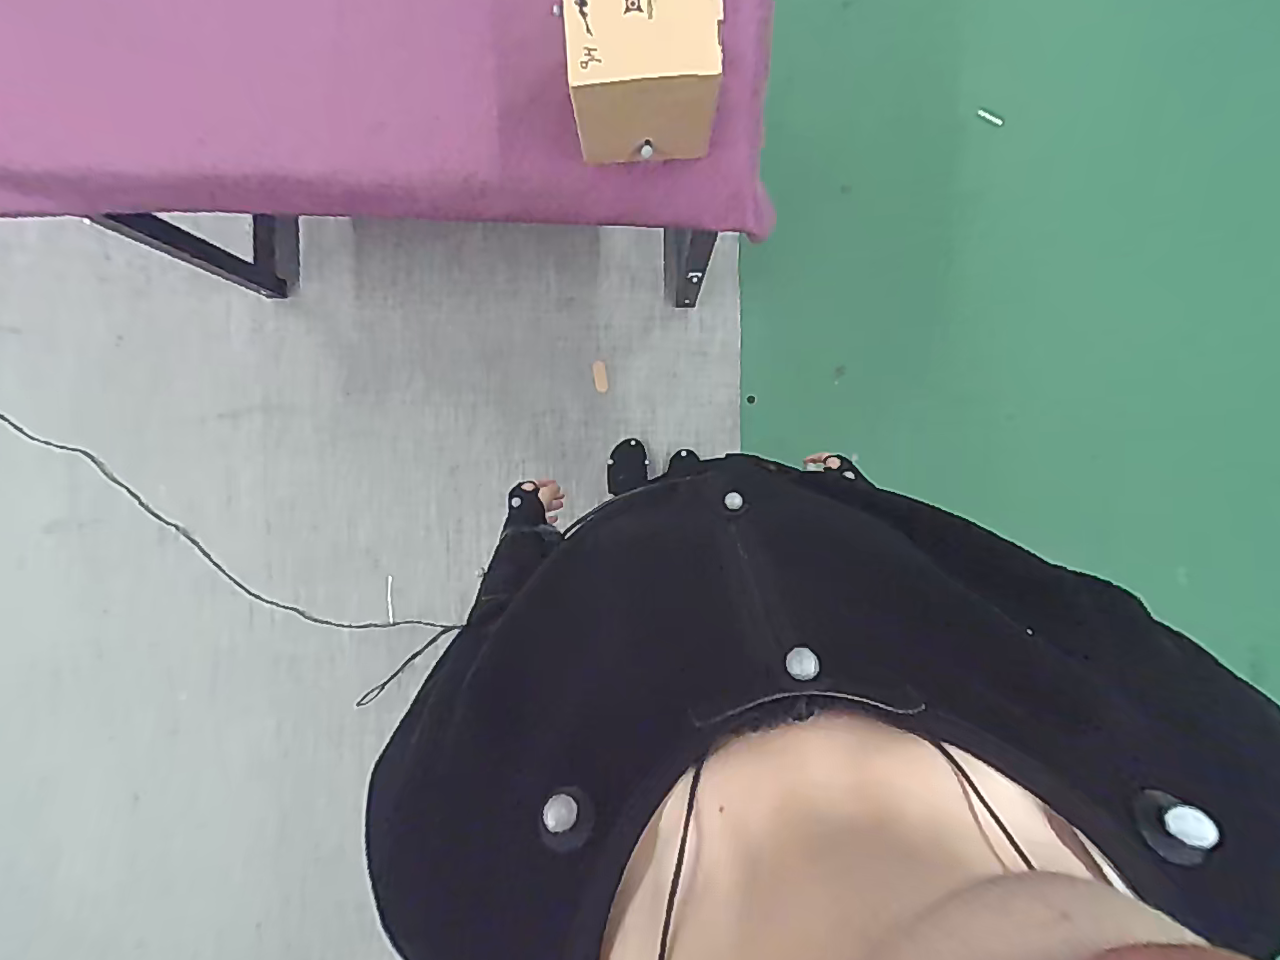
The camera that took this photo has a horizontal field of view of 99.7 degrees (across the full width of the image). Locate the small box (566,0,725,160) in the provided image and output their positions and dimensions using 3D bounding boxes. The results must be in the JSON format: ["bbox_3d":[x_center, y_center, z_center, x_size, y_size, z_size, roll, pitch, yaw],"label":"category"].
[{"bbox_3d":[0.004,-0.531,0.679,0.179,0.176,0.168,-3,92,1],"label":"small box"}]
